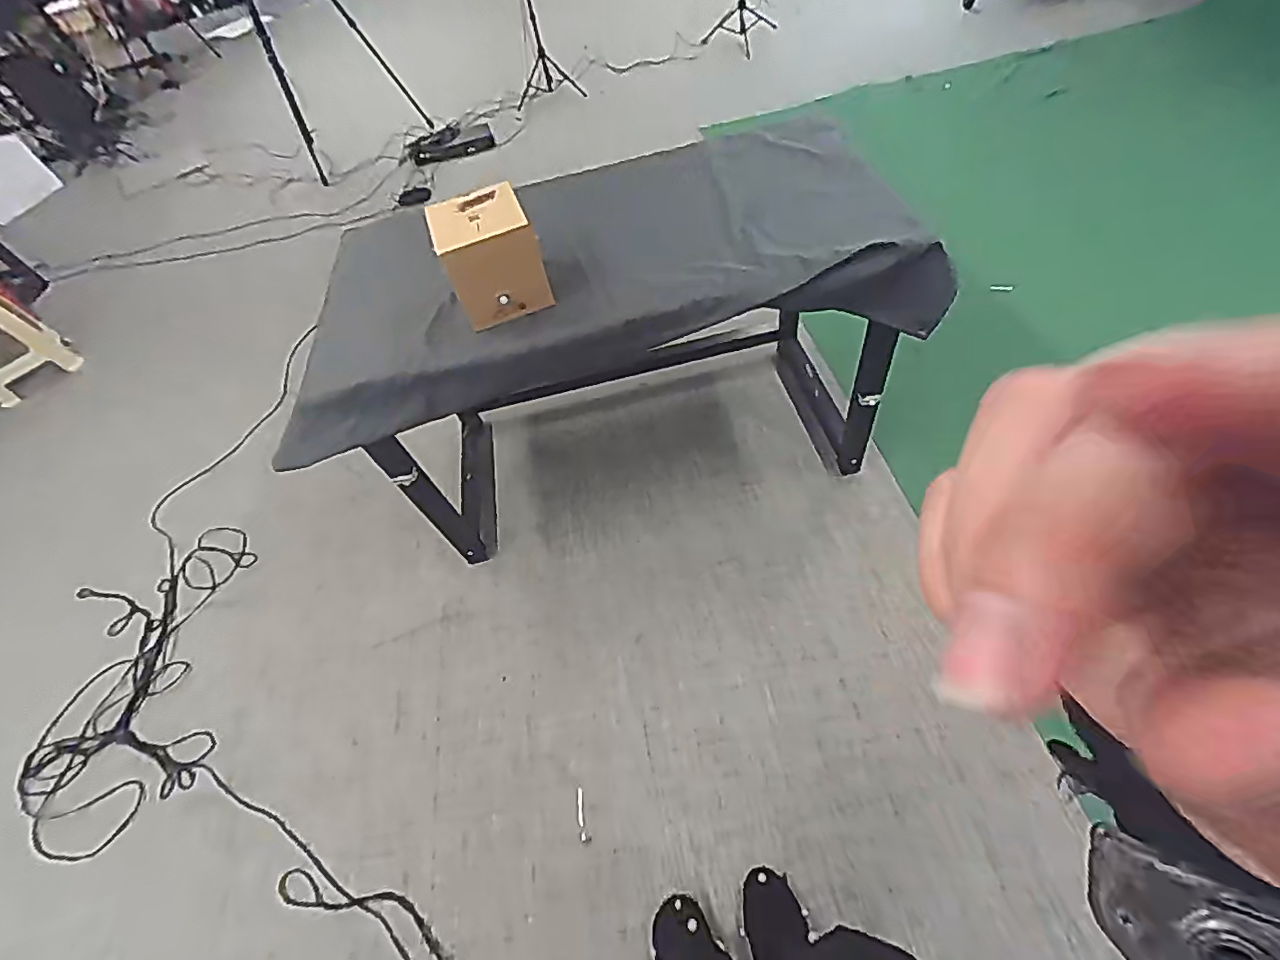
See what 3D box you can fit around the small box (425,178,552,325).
[{"bbox_3d":[-0.281,-0.426,1.017,0.168,0.176,0.179,-22,55,-5],"label":"small box"}]
